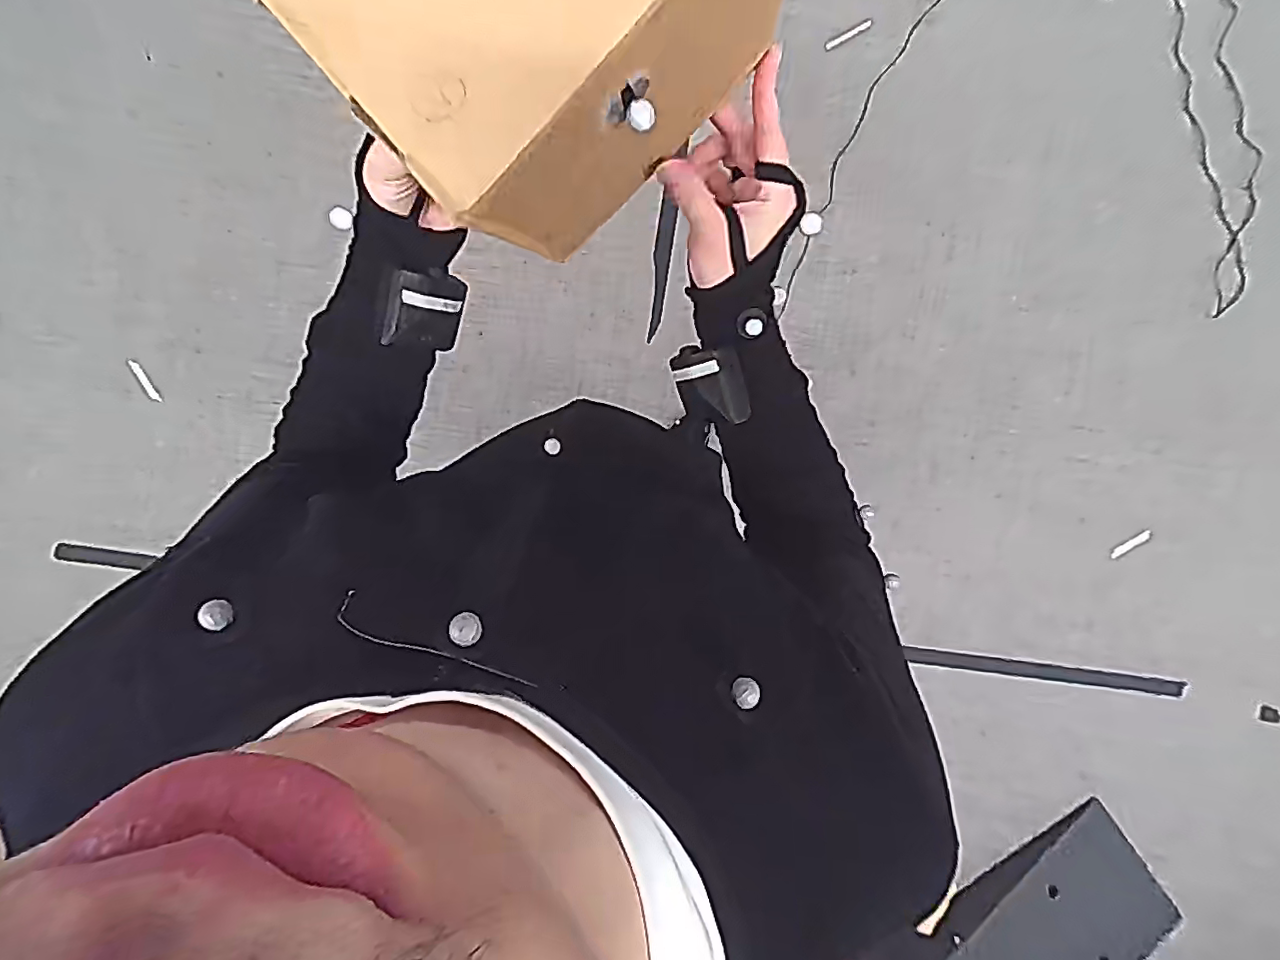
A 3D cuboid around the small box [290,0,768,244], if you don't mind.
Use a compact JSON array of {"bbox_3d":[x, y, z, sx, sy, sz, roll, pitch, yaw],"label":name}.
[{"bbox_3d":[-0.047,-0.244,0.263,0.179,0.176,0.168,-40,99,15],"label":"small box"}]
